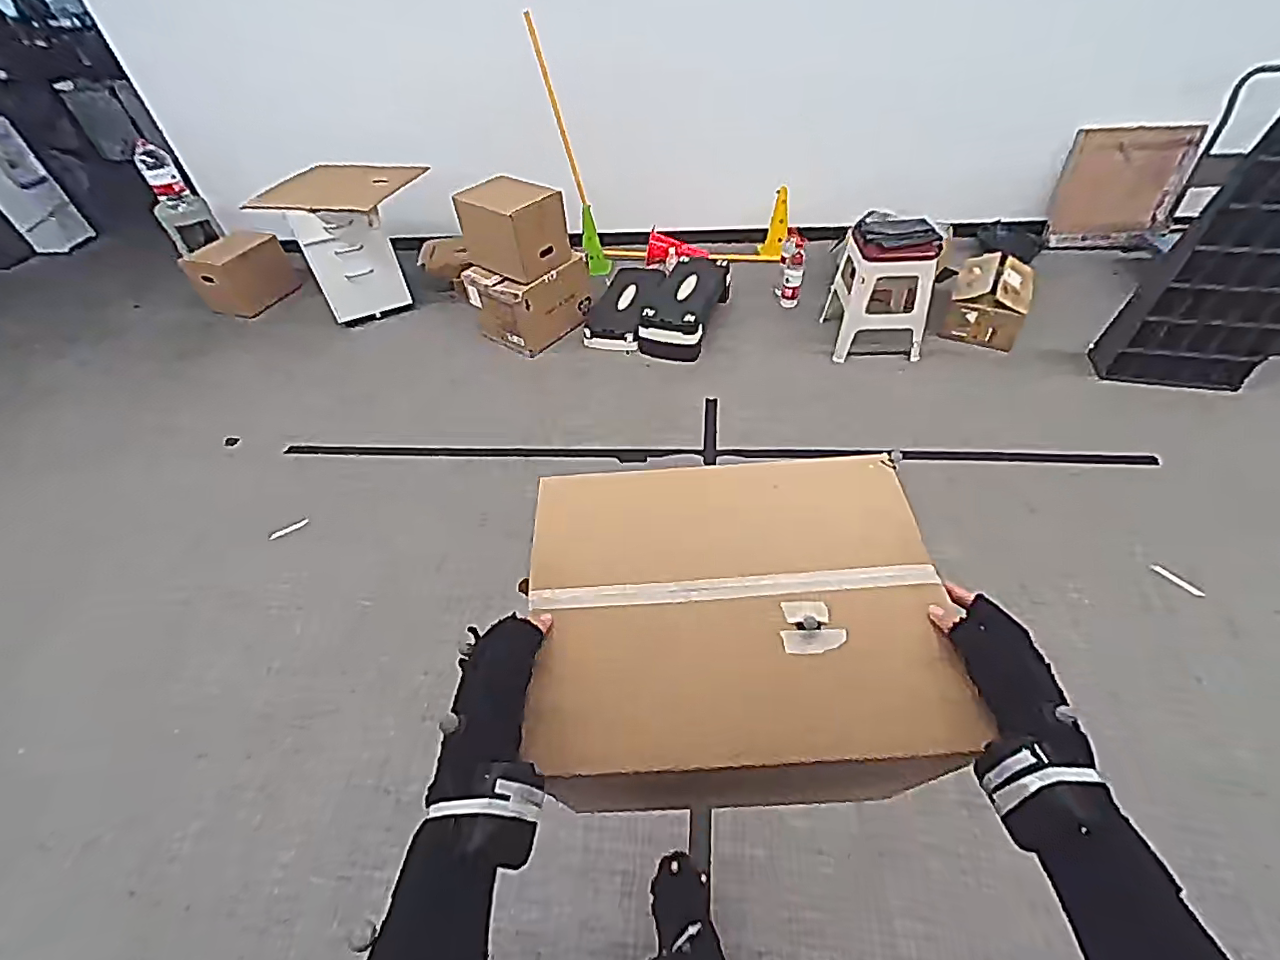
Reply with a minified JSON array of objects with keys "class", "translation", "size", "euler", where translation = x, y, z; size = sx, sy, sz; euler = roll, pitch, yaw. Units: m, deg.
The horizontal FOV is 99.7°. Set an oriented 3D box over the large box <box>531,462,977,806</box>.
[{"class":"large box","translation":[0.098,0.203,0.679],"size":[0.408,0.320,0.320],"euler":[-4,54,1]}]
